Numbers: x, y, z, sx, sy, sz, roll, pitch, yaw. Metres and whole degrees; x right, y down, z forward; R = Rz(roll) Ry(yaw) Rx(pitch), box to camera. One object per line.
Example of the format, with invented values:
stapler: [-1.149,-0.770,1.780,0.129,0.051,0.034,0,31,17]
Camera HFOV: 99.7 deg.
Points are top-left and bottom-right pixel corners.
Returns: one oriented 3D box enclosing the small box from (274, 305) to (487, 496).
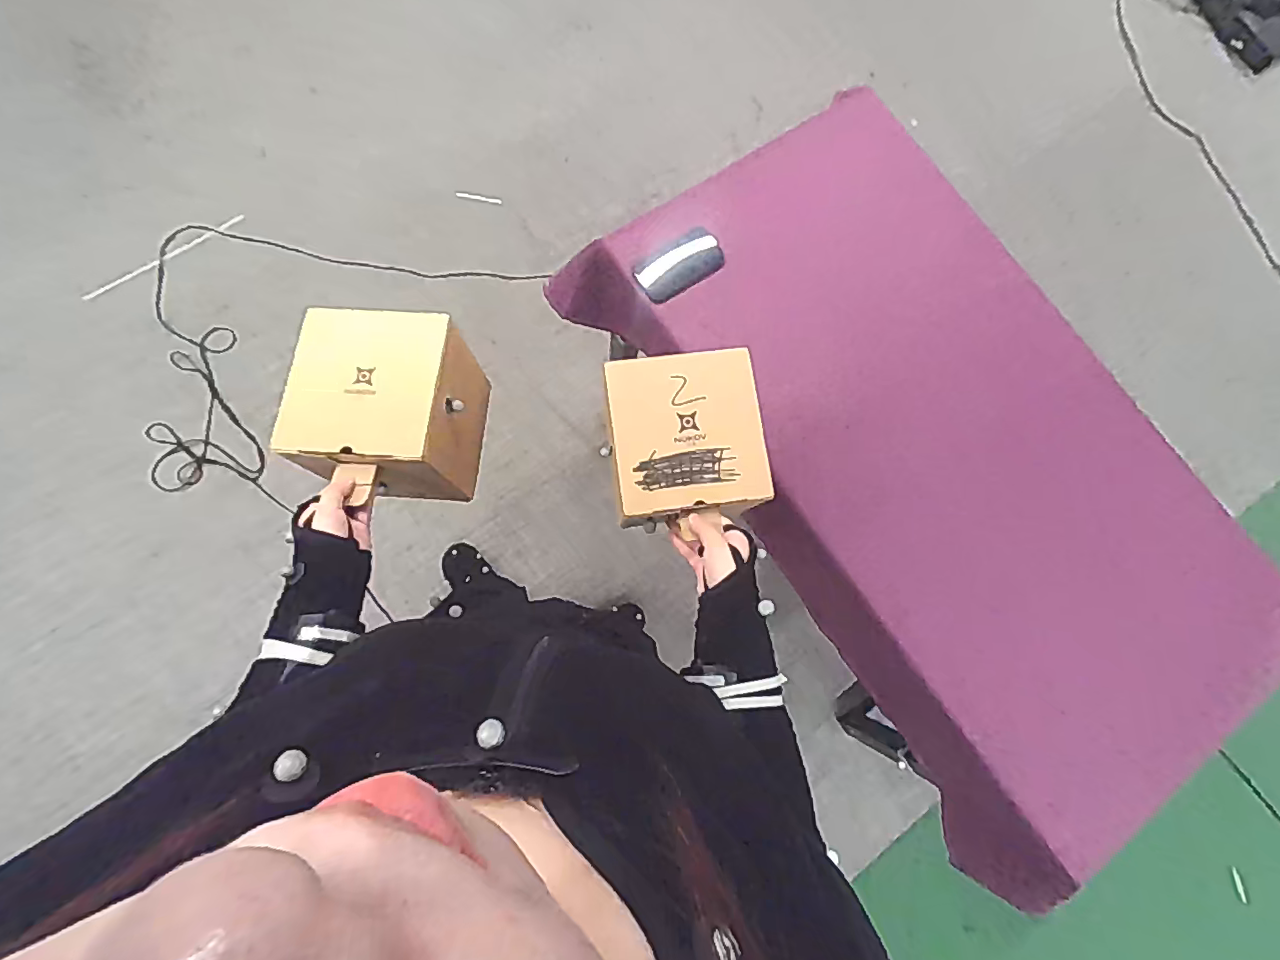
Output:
small box: [-0.299,-0.090,0.669,0.168,0.176,0.179,4,74,2]
